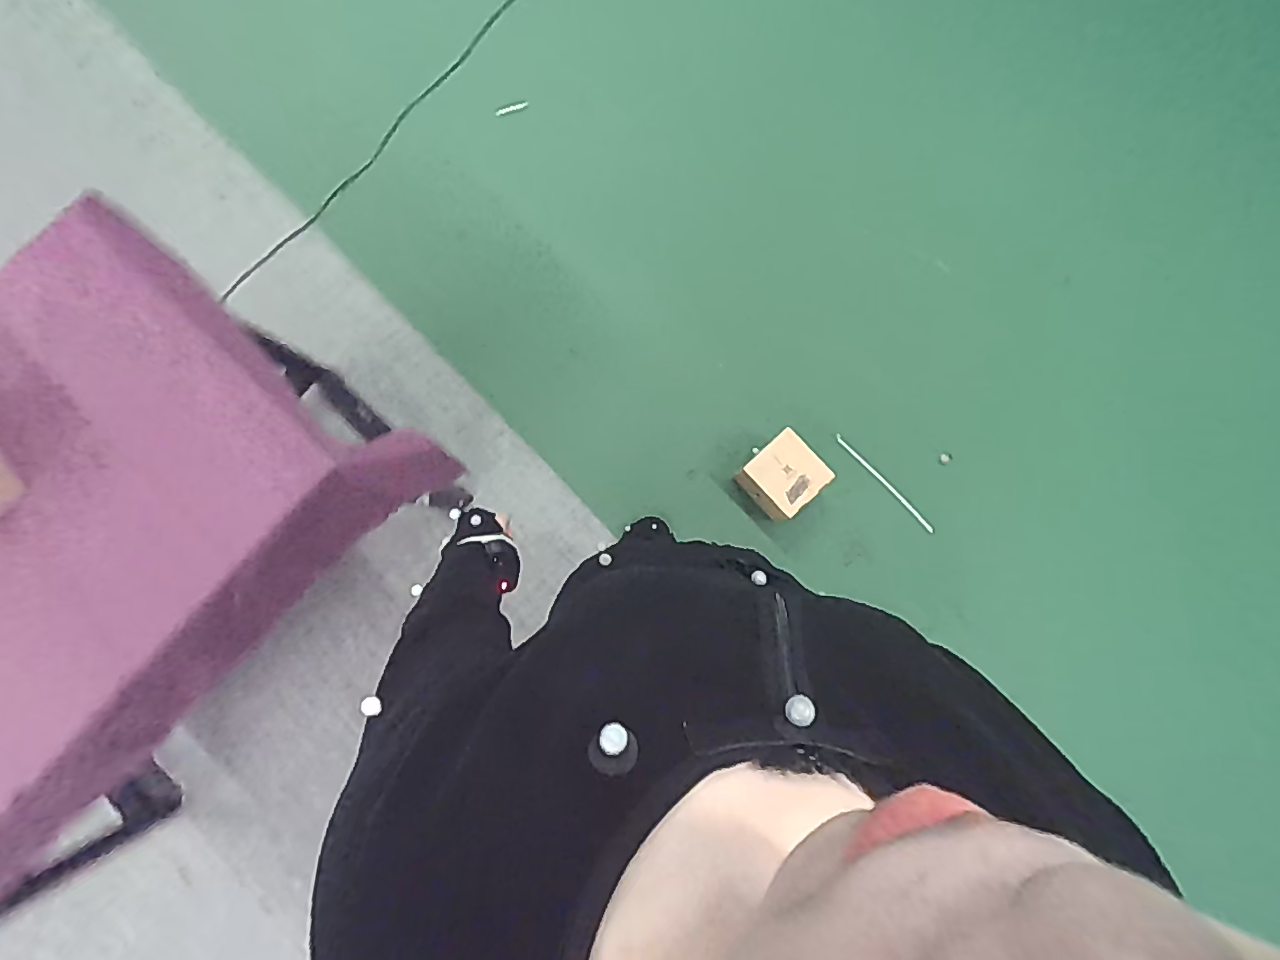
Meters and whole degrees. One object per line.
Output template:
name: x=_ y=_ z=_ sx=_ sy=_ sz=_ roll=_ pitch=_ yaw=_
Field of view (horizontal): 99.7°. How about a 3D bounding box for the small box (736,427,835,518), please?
small box: x=0.380 y=-0.014 z=1.447 sx=0.168 sy=0.176 sz=0.179 roll=-41 pitch=84 yaw=-4
